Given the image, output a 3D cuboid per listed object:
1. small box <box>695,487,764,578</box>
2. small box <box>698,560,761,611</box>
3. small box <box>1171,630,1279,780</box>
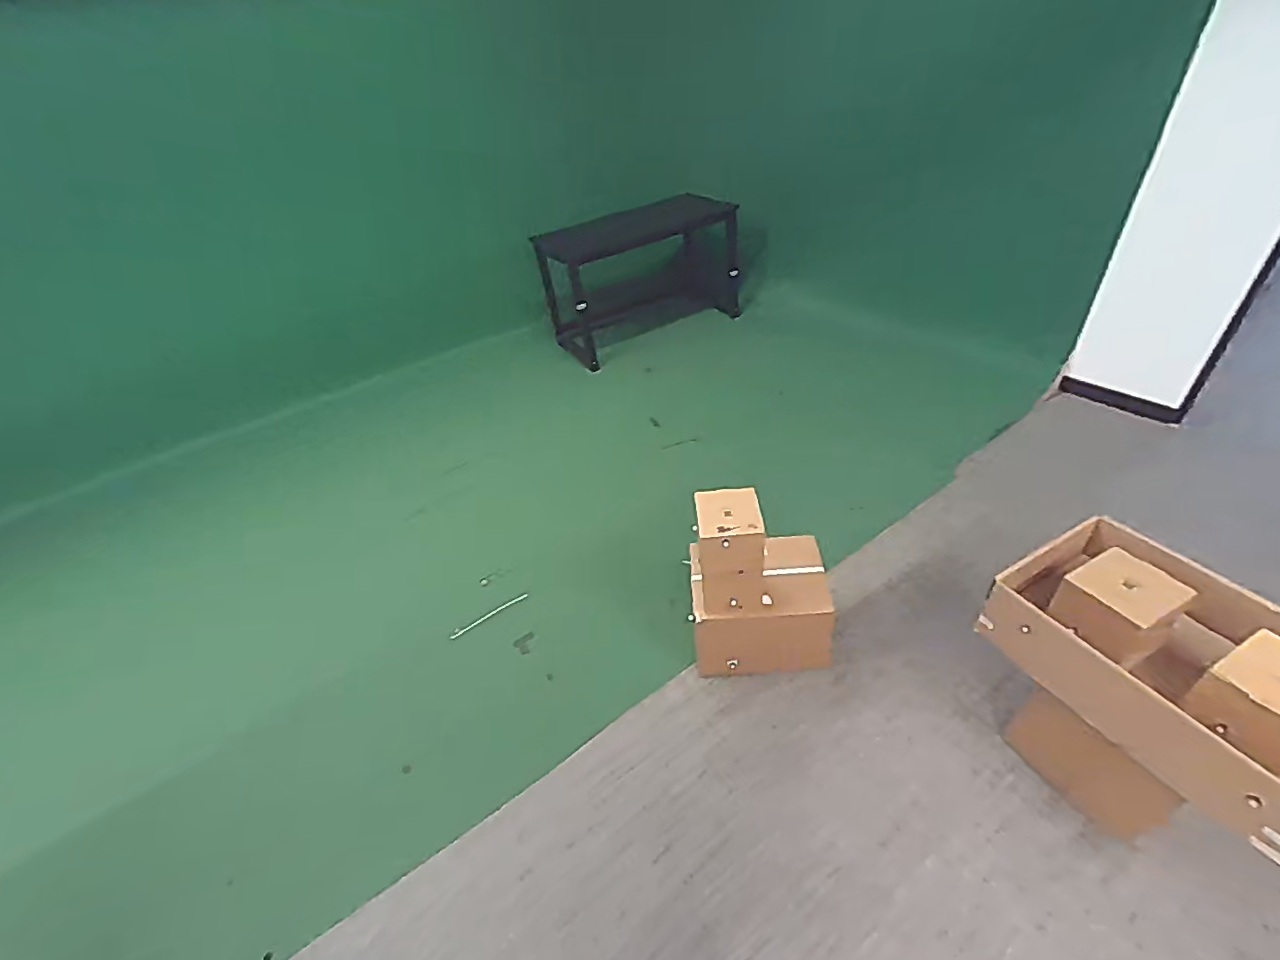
[{"bbox_3d":[0.236,0.142,1.467,0.168,0.176,0.179,-5,40,4],"label":"small box"},{"bbox_3d":[0.255,0.260,1.580,0.168,0.176,0.179,-5,41,5],"label":"small box"},{"bbox_3d":[1.188,0.430,1.035,0.179,0.176,0.168,-24,41,-15],"label":"small box"}]
